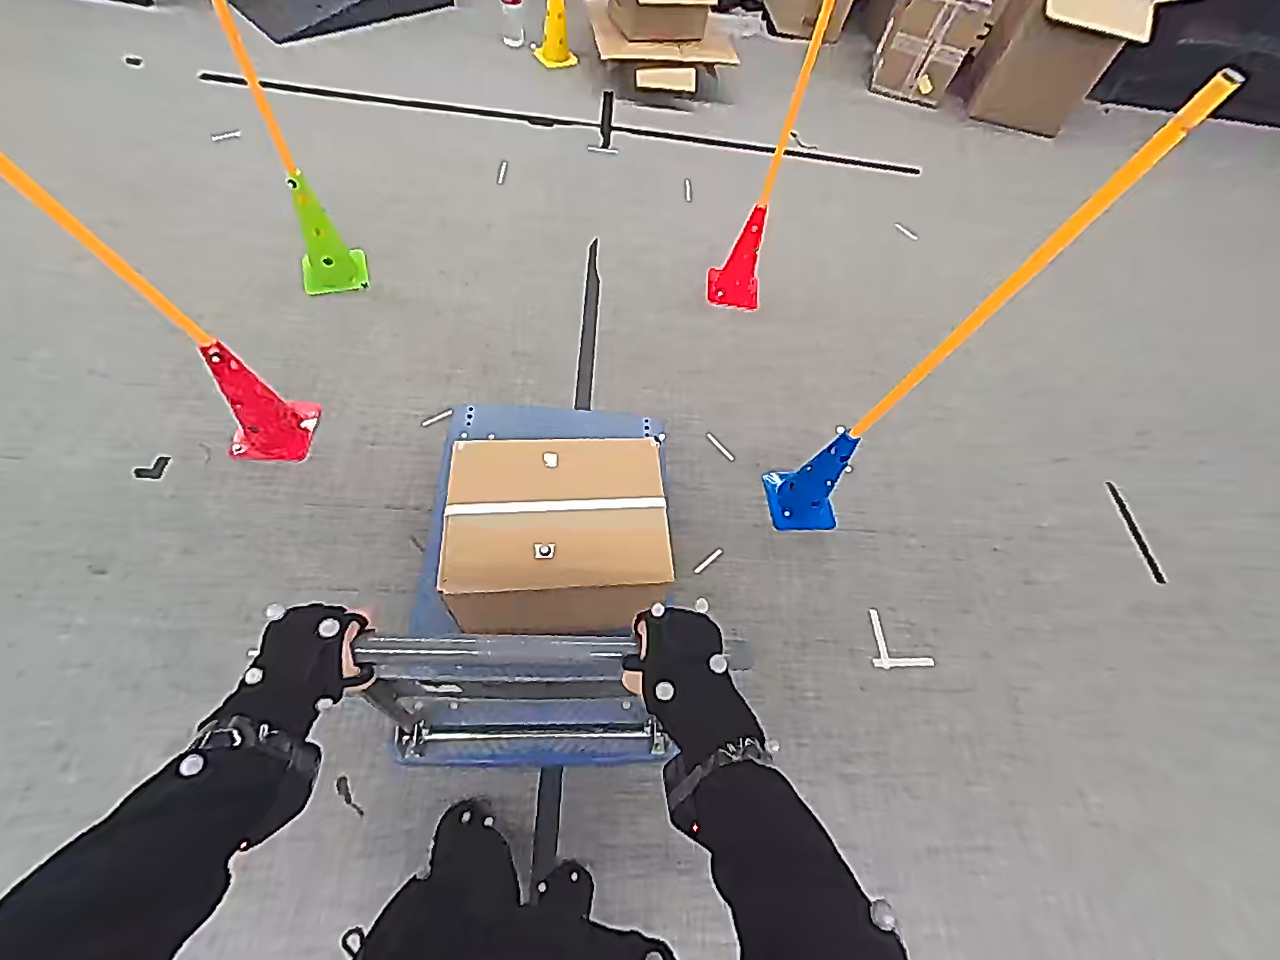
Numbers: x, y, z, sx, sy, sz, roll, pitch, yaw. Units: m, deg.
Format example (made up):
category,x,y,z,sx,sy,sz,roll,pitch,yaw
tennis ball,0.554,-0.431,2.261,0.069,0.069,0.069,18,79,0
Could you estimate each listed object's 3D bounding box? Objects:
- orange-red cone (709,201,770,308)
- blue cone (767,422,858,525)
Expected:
category,x,y,z,sx,sy,sz,roll,pitch,yaw
orange-red cone,0.392,-0.829,1.943,0.199,0.360,0.198,10,60,-4
blue cone,0.516,-0.030,1.523,0.193,0.380,0.192,0,59,-9
